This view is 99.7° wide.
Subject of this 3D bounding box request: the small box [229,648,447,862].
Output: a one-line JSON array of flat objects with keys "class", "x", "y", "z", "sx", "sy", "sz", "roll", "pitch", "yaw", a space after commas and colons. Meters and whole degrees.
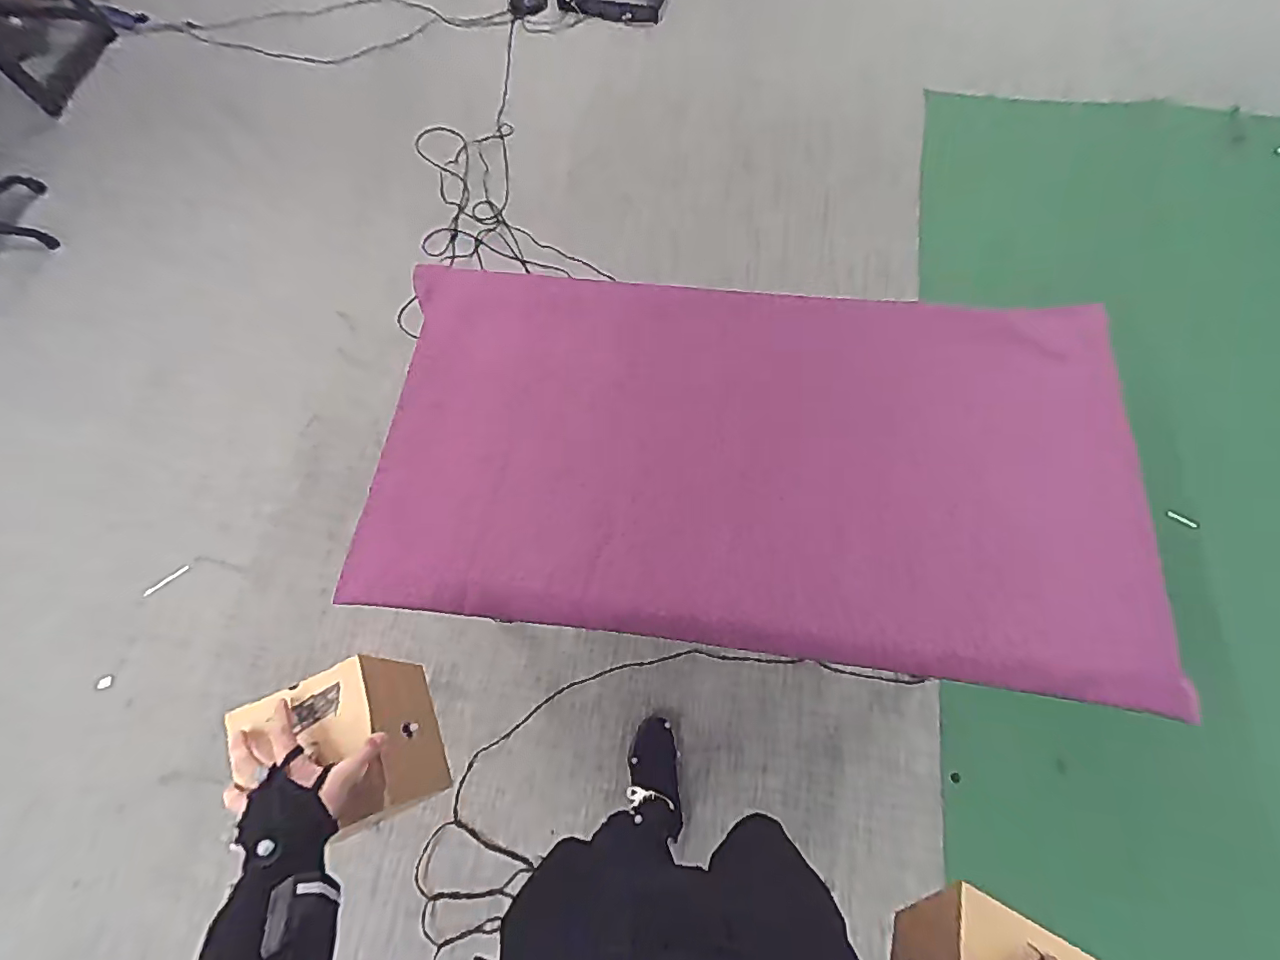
[{"class": "small box", "x": -0.371, "y": 0.335, "z": 0.684, "sx": 0.168, "sy": 0.176, "sz": 0.179, "roll": -24, "pitch": 68, "yaw": -4}]
